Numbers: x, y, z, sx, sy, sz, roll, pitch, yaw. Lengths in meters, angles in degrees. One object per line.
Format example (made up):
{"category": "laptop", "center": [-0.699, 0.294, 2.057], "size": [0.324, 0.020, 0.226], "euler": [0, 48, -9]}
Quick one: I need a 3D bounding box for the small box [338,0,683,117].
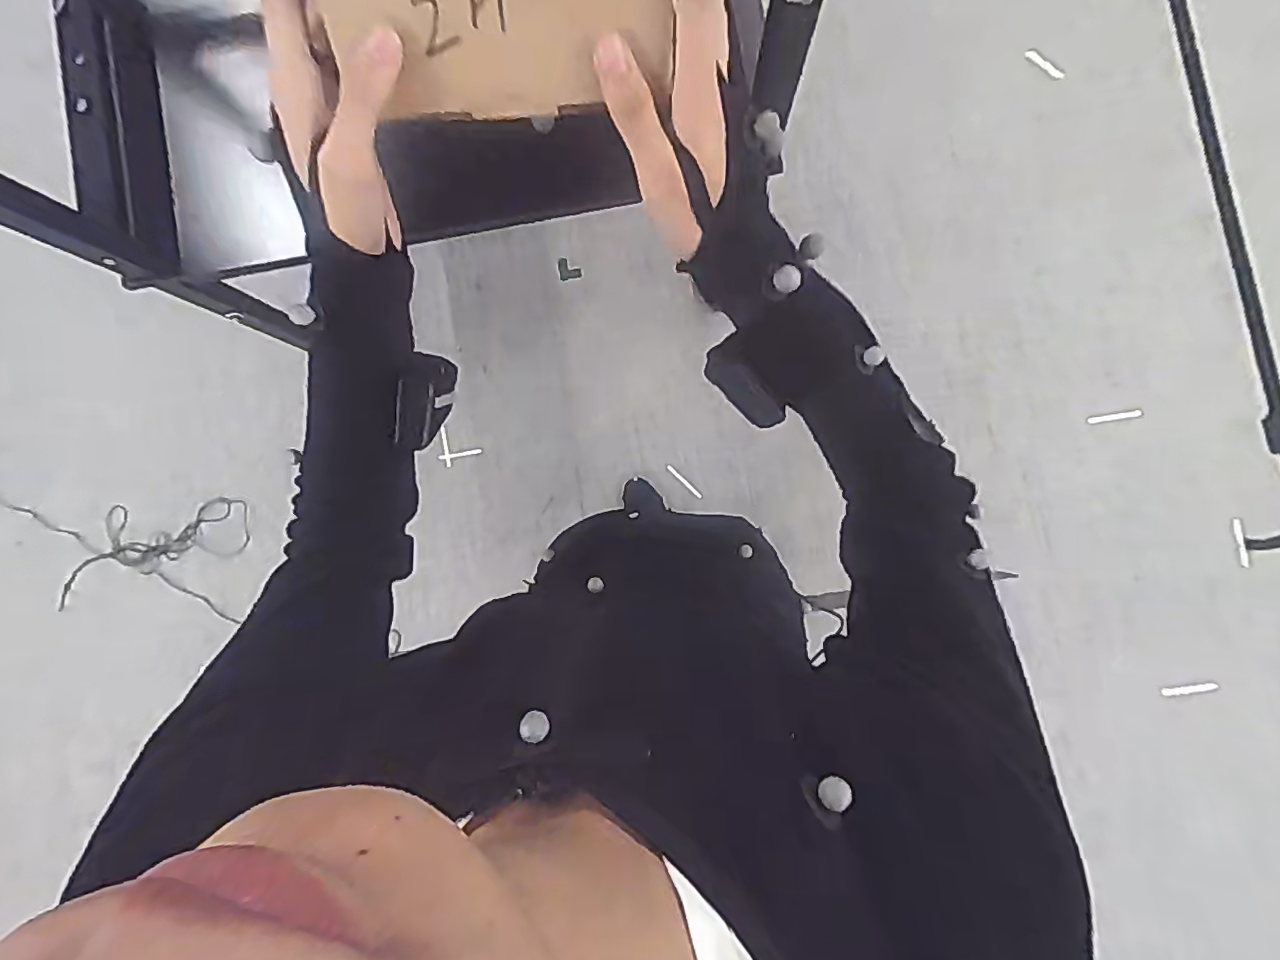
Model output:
{"category": "small box", "center": [-0.064, -0.309, 0.297], "size": [0.168, 0.176, 0.179], "euler": [-2, 127, 0]}
